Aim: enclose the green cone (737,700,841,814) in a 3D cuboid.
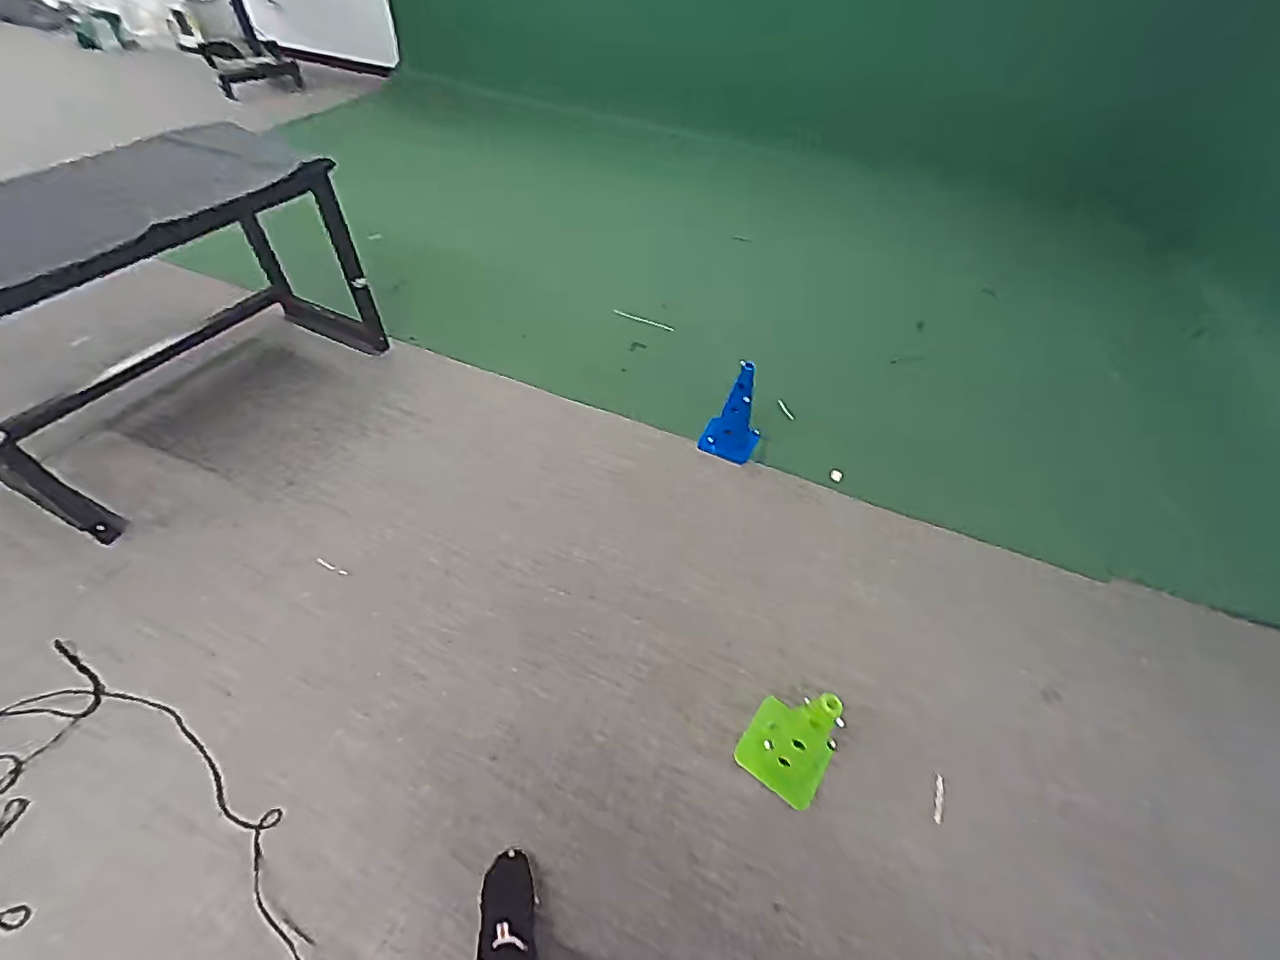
[{"bbox_3d":[0.376,0.574,1.224,0.200,0.368,0.202,30,53,21],"label":"green cone"}]
